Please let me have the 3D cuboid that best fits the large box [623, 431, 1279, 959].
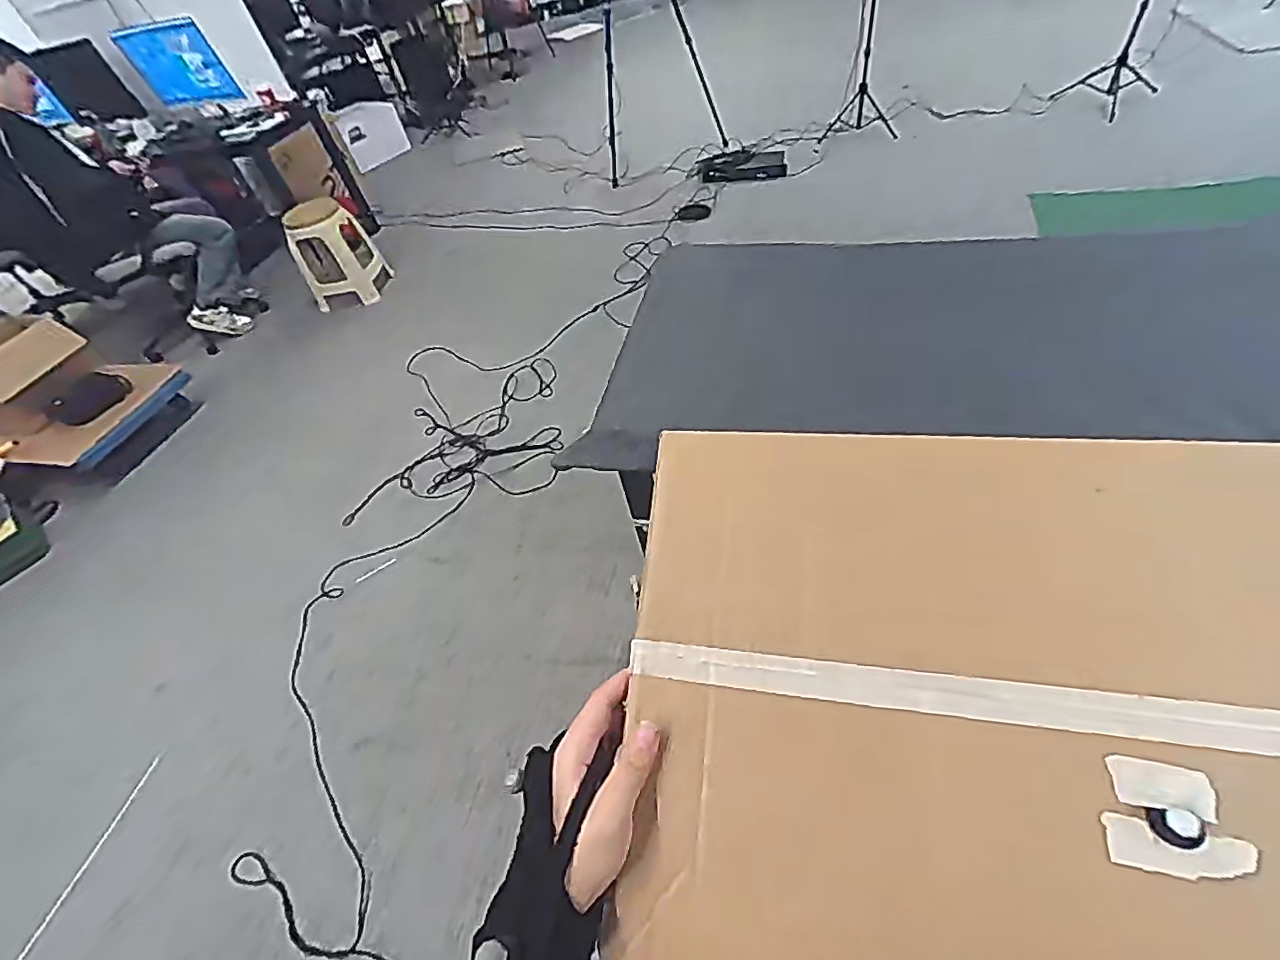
[{"bbox_3d":[0.224,0.167,0.444,0.408,0.320,0.320,2,70,13],"label":"large box"}]
